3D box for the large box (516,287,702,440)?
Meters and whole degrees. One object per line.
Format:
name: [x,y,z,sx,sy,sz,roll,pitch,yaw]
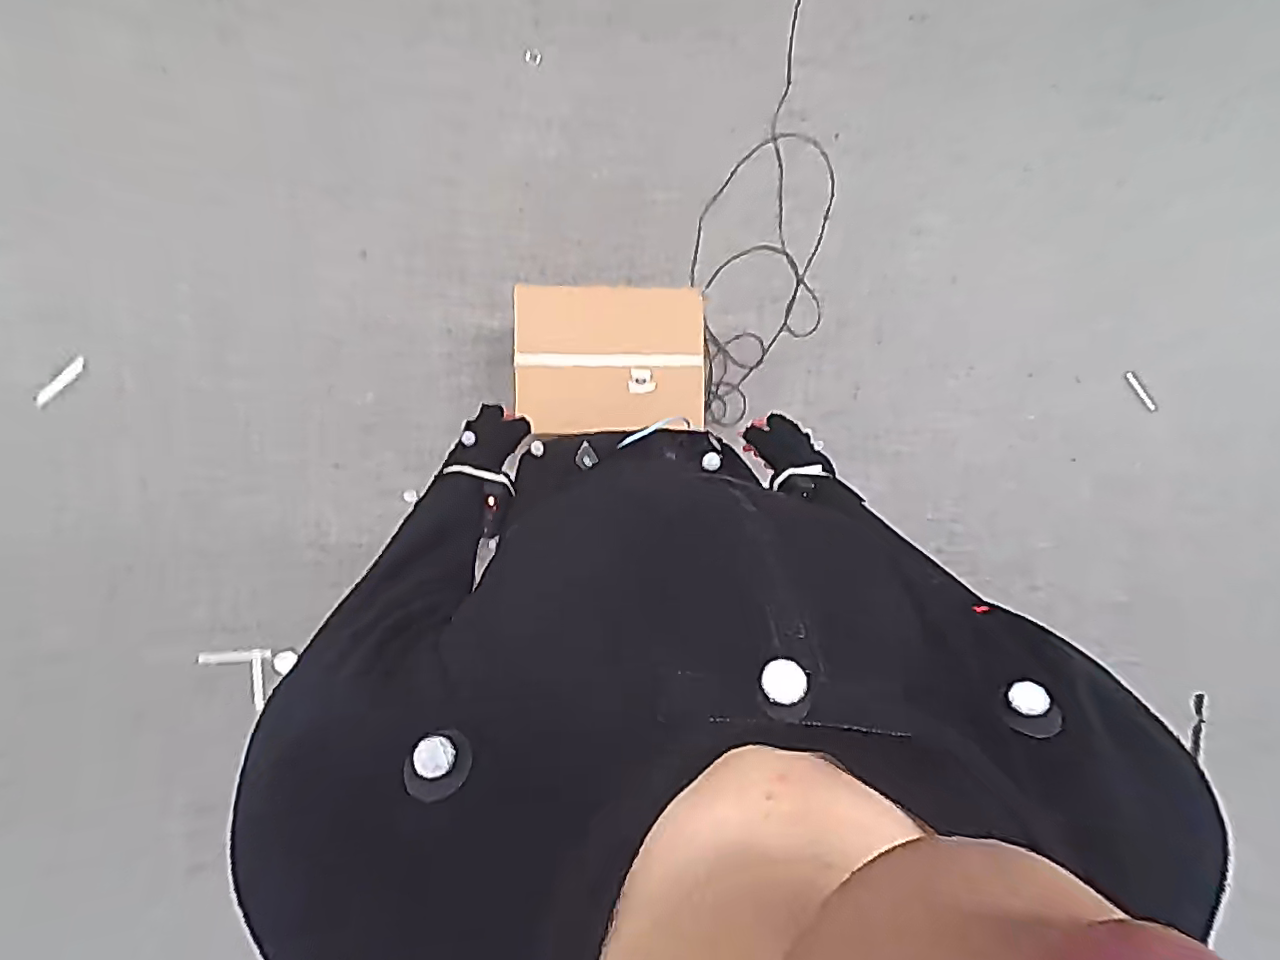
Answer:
large box: [-0.079,-0.262,1.315,0.408,0.320,0.320,0,92,-5]
